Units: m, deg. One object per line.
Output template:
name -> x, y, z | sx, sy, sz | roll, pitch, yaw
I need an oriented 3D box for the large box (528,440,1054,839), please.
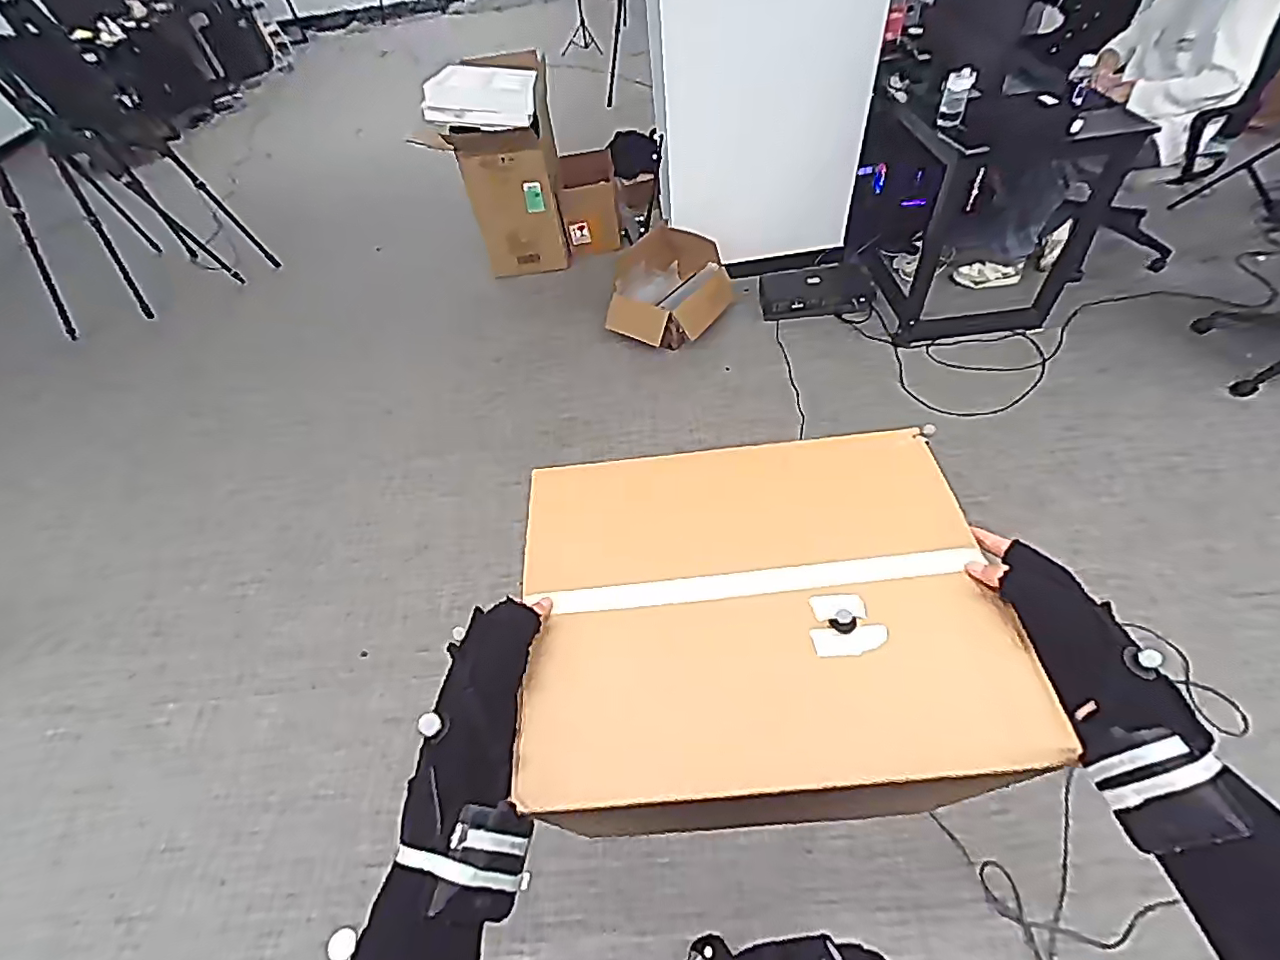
large box -> 0.111, 0.190, 0.608 | 0.408, 0.320, 0.320 | -6, 53, 2
